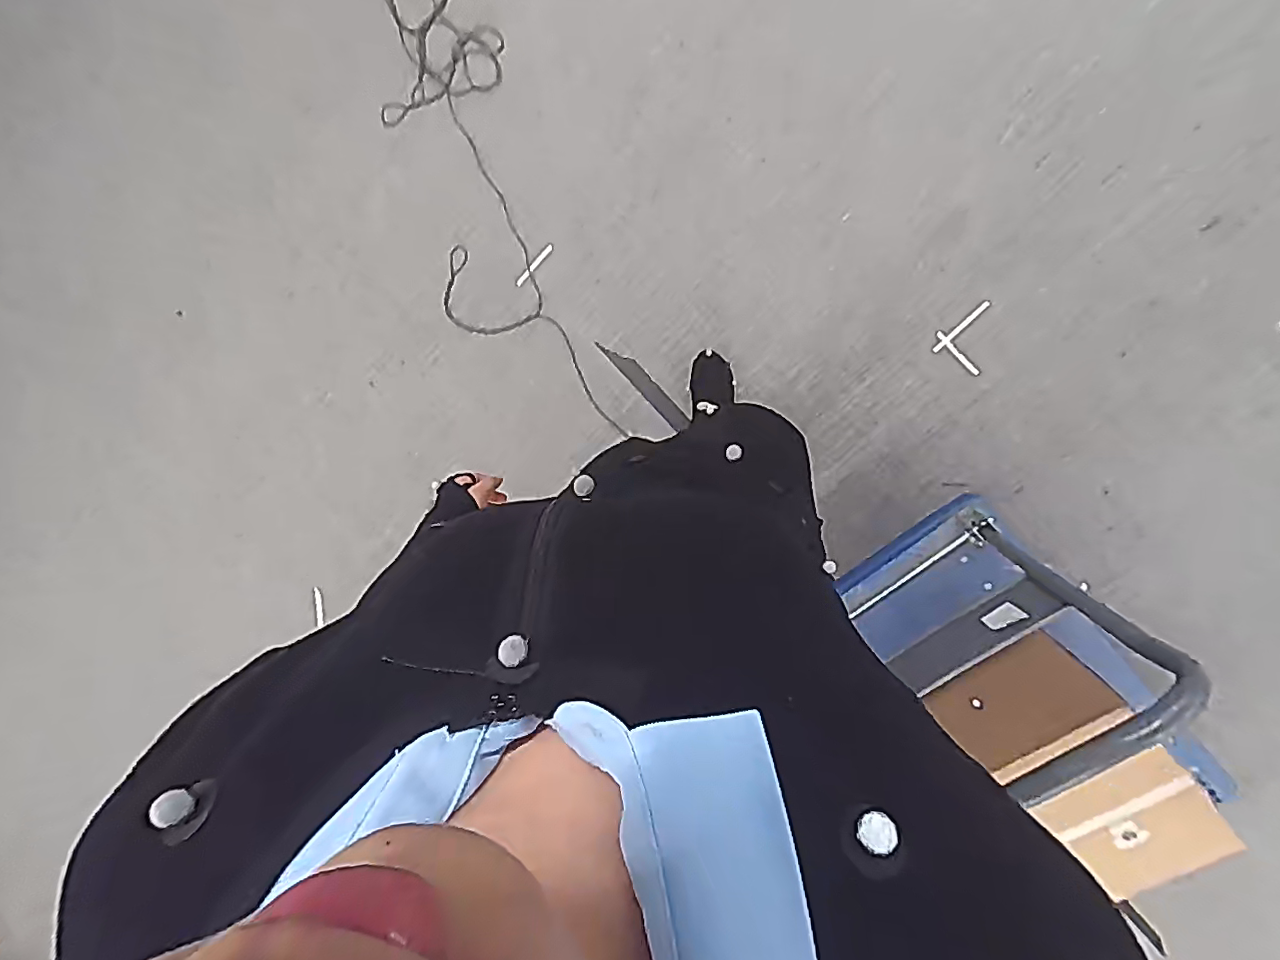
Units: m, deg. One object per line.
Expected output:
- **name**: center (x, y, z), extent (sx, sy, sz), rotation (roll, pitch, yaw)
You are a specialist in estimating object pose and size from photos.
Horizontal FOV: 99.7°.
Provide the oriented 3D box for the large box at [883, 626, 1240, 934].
- **large box**: center (0.783, 0.574, 1.088), extent (0.408, 0.320, 0.320), rotation (-40, 90, 14)
